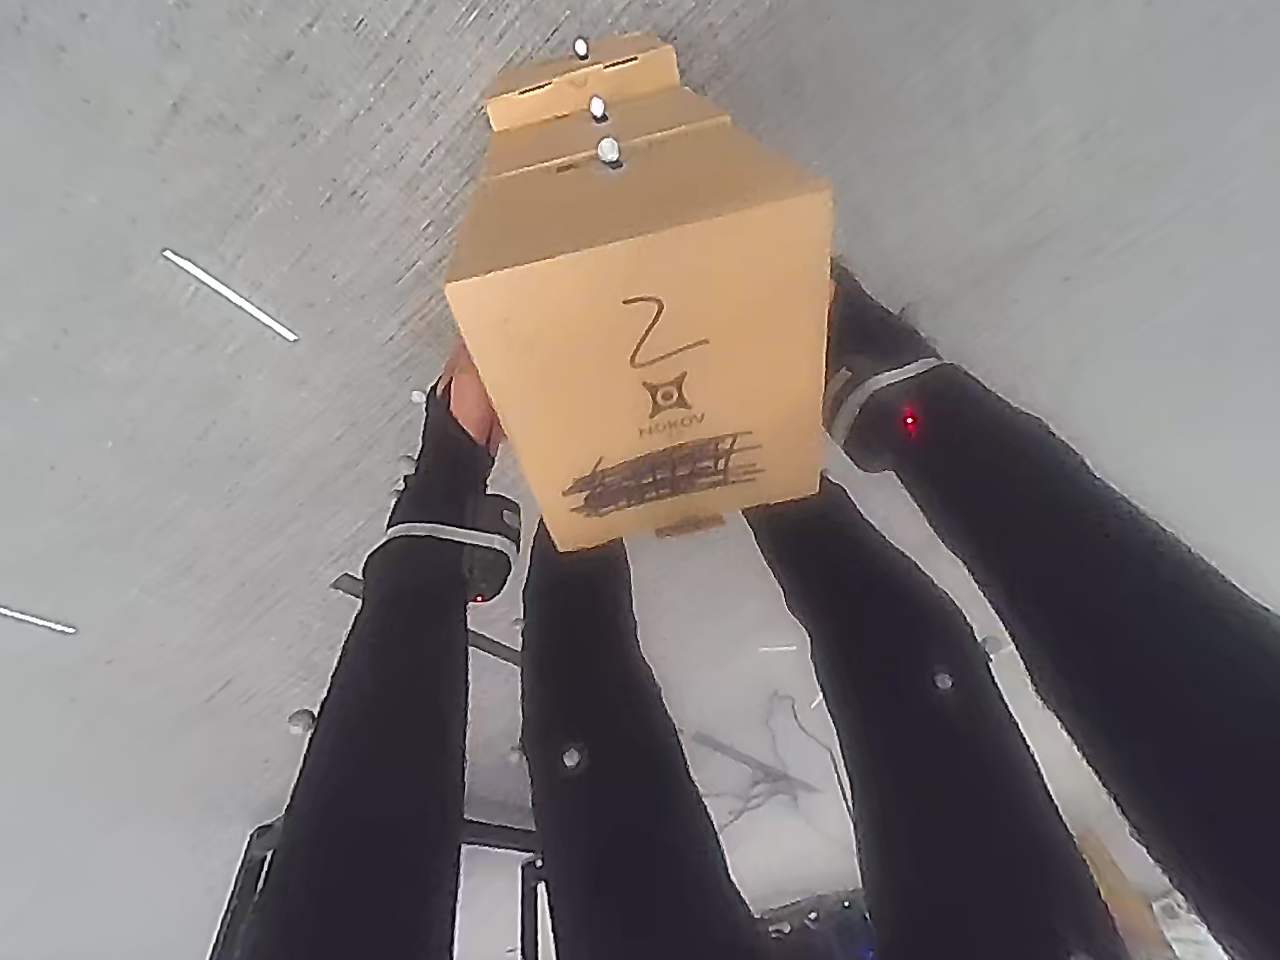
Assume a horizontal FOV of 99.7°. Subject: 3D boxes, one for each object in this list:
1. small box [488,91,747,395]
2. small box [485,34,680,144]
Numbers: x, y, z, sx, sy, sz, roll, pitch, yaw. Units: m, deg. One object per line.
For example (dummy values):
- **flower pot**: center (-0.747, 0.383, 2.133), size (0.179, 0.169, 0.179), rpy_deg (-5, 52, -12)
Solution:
- **small box**: center (-0.017, -0.204, 0.454), size (0.168, 0.176, 0.179), rpy_deg (-14, 133, 1)
- **small box**: center (-0.045, -0.328, 0.560), size (0.168, 0.176, 0.179), rpy_deg (-16, 132, 2)
